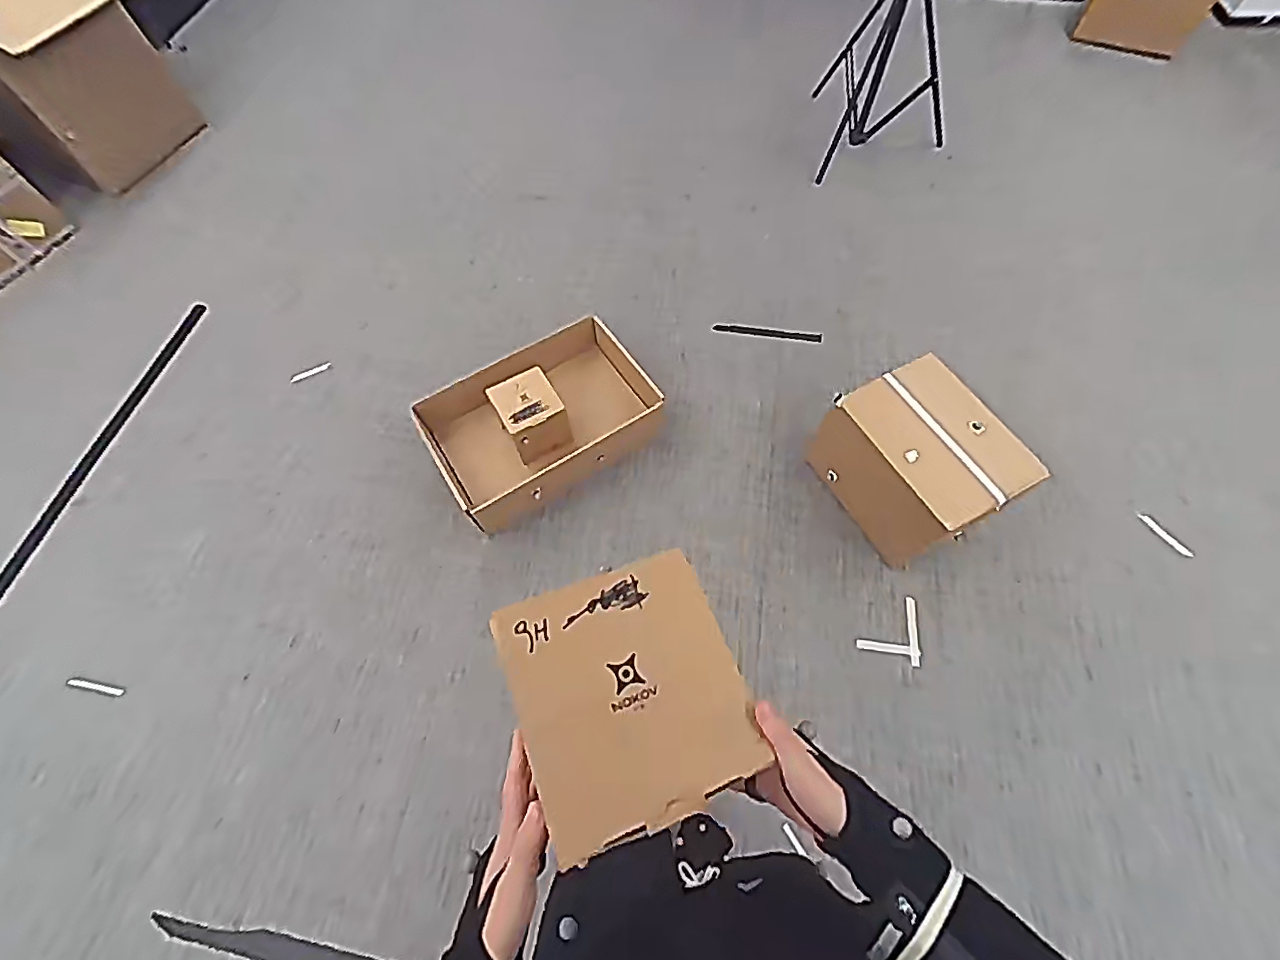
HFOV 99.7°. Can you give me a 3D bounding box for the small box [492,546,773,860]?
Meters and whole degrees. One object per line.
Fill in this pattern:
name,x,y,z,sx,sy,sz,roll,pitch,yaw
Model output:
small box,-0.018,0.185,0.469,0.168,0.176,0.179,-16,66,-18
